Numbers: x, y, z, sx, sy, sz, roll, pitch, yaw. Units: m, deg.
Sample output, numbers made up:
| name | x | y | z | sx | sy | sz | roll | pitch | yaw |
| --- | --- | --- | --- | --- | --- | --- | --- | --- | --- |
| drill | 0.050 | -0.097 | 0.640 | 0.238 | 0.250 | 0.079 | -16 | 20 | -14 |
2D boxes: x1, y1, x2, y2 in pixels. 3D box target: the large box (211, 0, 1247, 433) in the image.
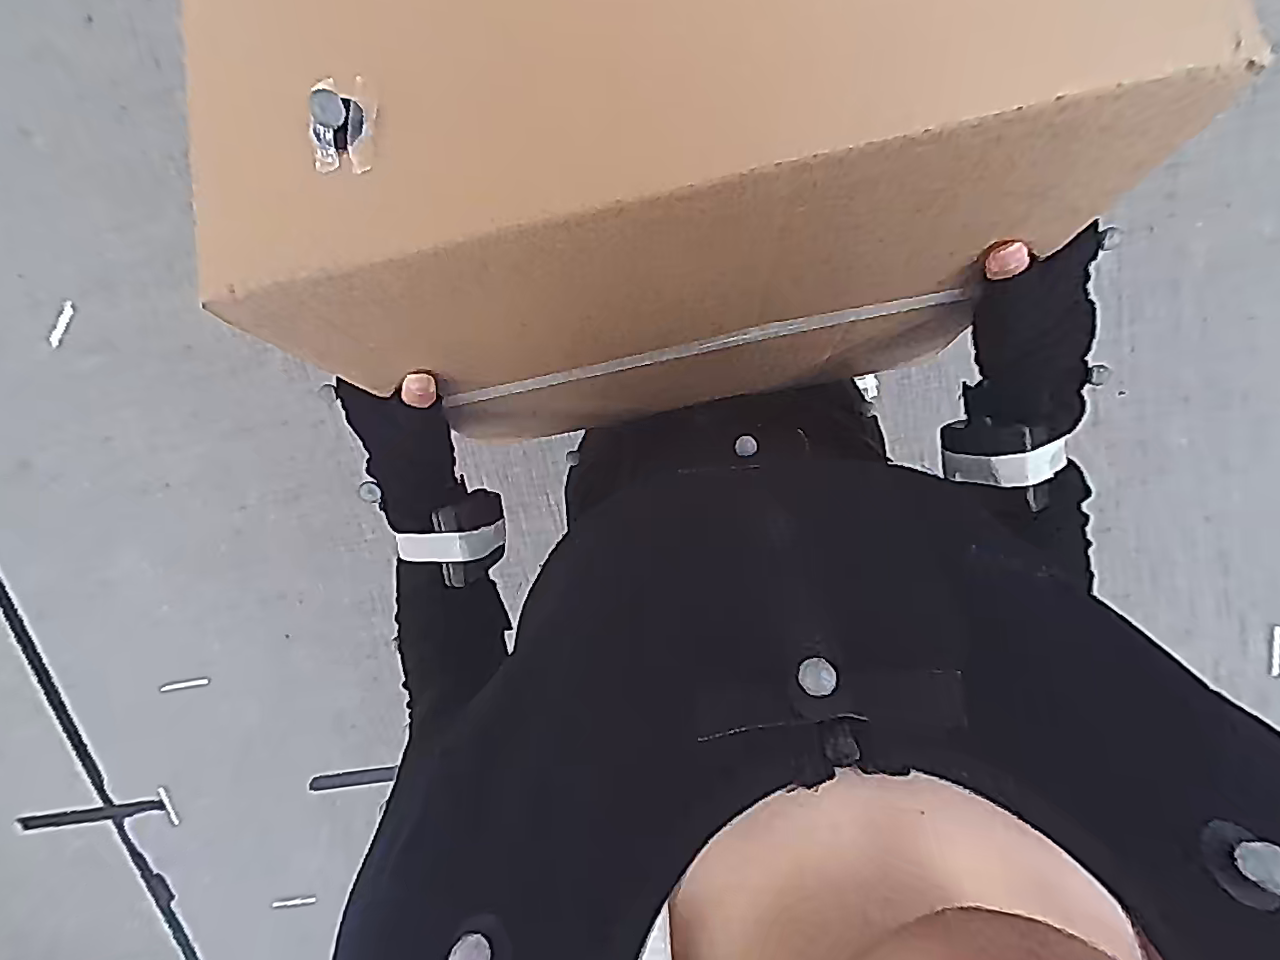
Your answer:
| name | x | y | z | sx | sy | sz | roll | pitch | yaw |
| --- | --- | --- | --- | --- | --- | --- | --- | --- | --- |
| large box | 0.010 | -0.249 | 0.376 | 0.408 | 0.320 | 0.320 | -11 | 82 | 4 |
